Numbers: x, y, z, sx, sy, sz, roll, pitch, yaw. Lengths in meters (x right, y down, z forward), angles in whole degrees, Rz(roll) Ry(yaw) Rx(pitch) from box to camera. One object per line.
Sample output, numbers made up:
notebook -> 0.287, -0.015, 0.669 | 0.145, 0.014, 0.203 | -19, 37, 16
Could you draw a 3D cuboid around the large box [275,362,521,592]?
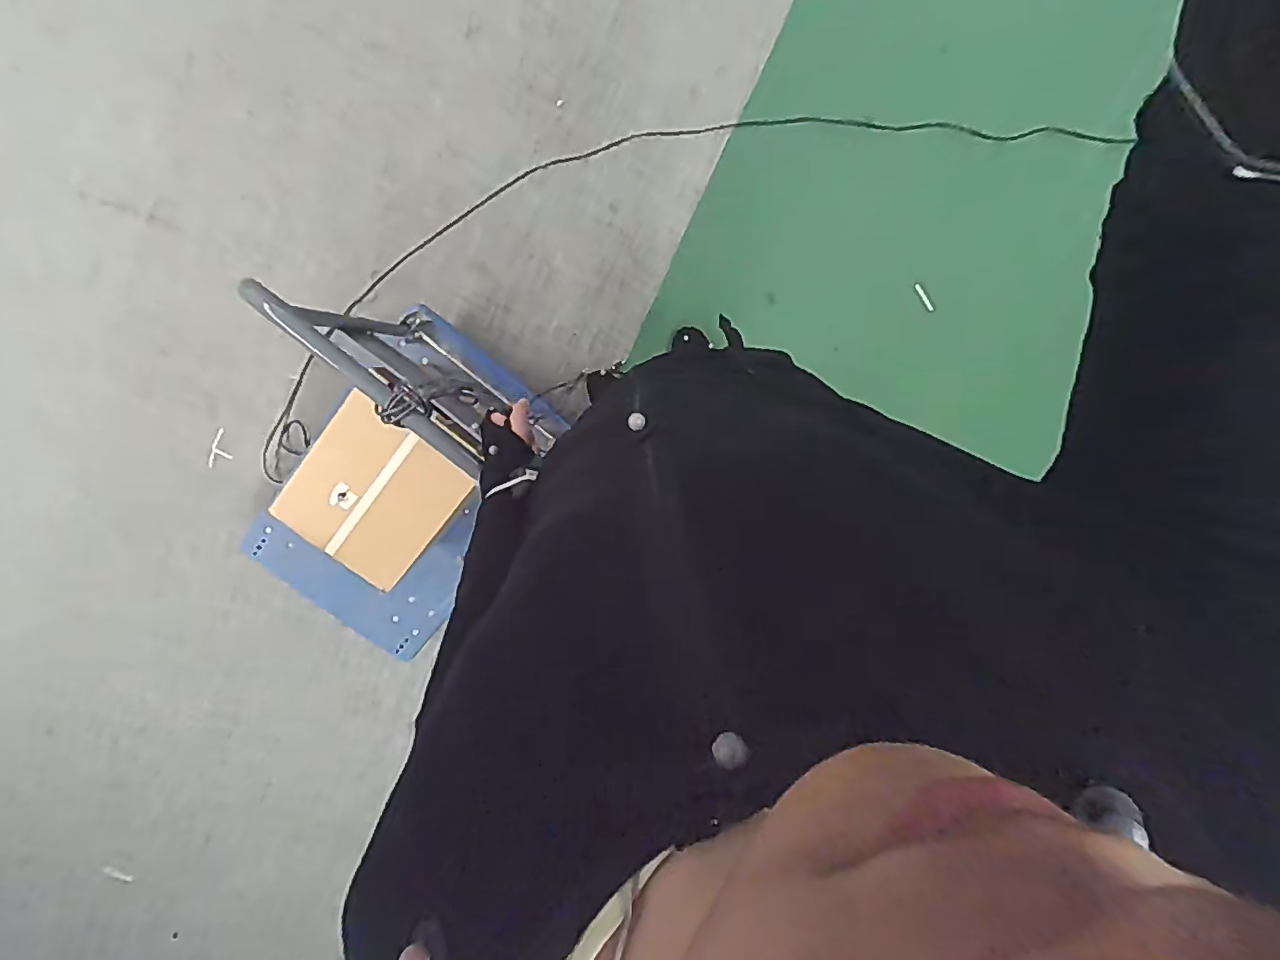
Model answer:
large box -> -0.547, -0.026, 1.292 | 0.320, 0.320, 0.408 | 39, 101, -8
